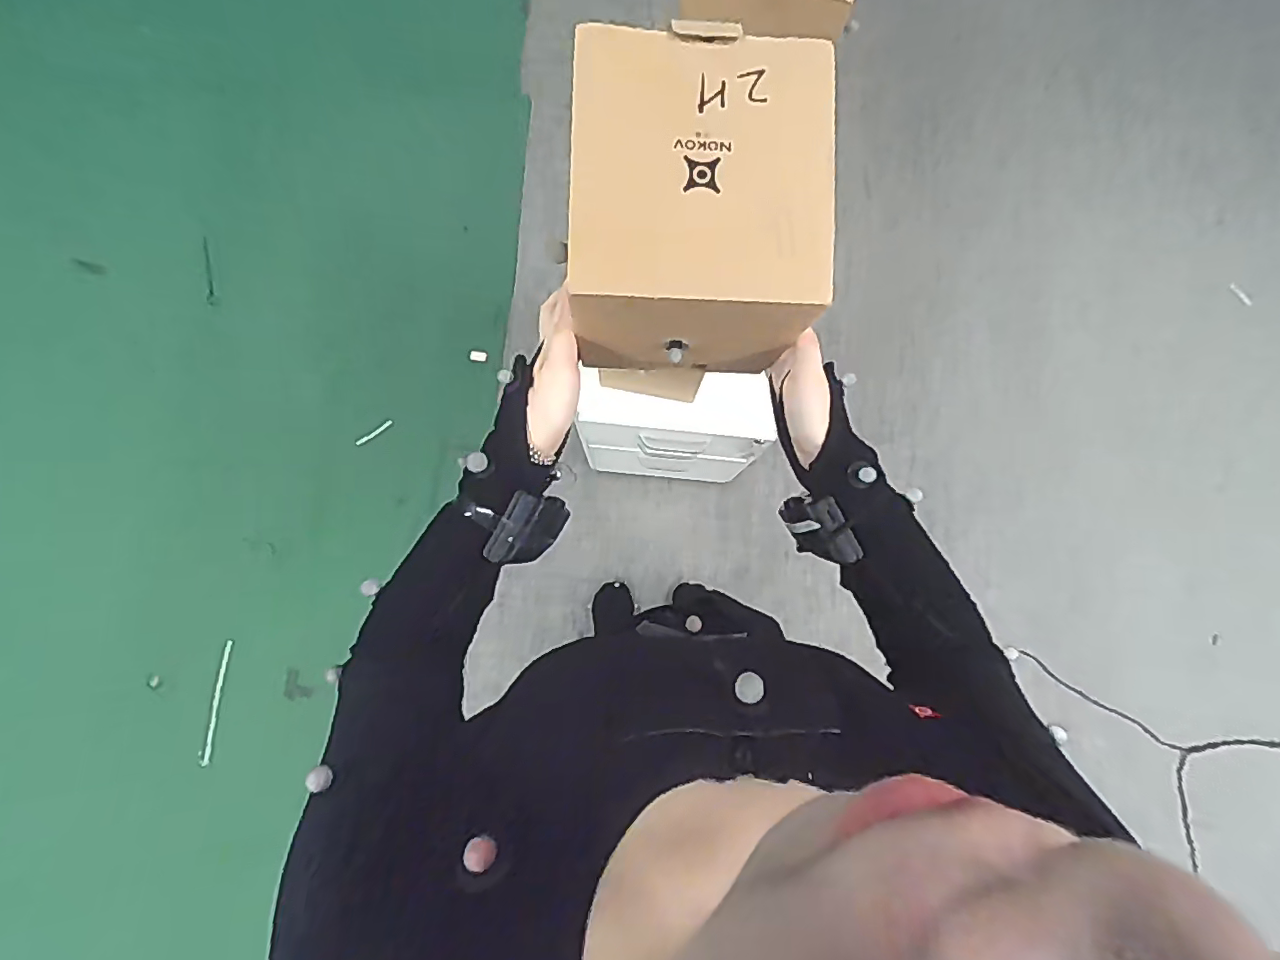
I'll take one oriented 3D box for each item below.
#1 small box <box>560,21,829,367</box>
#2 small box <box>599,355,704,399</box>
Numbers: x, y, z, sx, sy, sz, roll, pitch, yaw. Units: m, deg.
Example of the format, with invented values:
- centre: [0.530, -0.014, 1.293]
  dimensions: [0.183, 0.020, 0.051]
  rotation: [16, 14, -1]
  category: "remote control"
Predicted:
- centre: [0.032, -0.193, 0.416]
  dimensions: [0.168, 0.176, 0.179]
  rotation: [2, 86, -3]
  category: "small box"
- centre: [0.028, -0.250, 0.915]
  dimensions: [0.179, 0.176, 0.168]
  rotation: [12, 79, 0]
  category: "small box"
